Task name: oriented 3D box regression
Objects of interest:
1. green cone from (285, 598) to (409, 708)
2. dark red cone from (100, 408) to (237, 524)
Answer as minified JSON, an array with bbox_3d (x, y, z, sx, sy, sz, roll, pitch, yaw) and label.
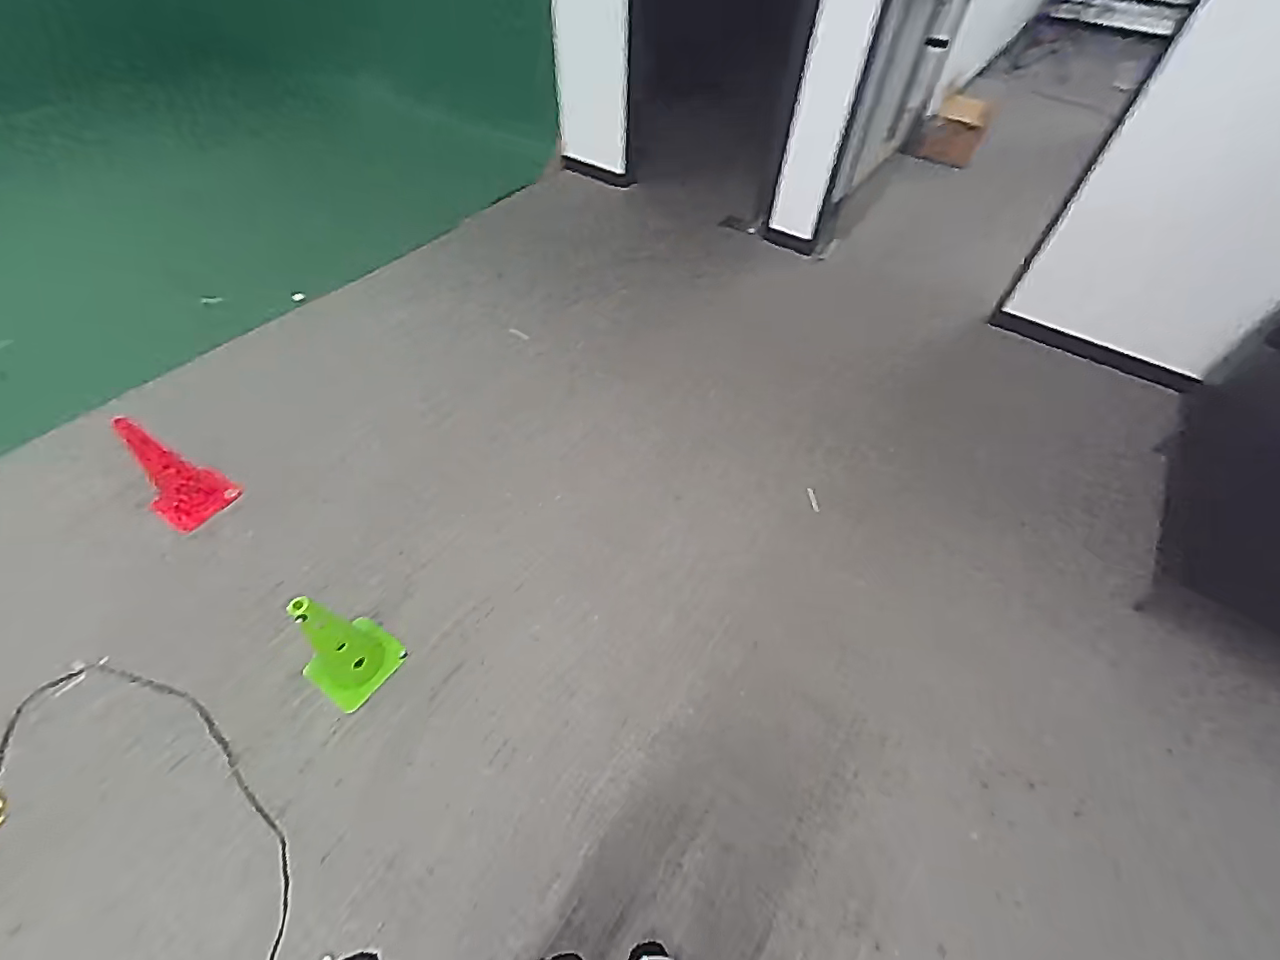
[{"bbox_3d":[-0.752,0.376,1.317,0.200,0.368,0.202,29,57,19],"label":"green cone"},{"bbox_3d":[-1.421,-0.061,1.597,0.201,0.394,0.202,25,55,18],"label":"dark red cone"}]
